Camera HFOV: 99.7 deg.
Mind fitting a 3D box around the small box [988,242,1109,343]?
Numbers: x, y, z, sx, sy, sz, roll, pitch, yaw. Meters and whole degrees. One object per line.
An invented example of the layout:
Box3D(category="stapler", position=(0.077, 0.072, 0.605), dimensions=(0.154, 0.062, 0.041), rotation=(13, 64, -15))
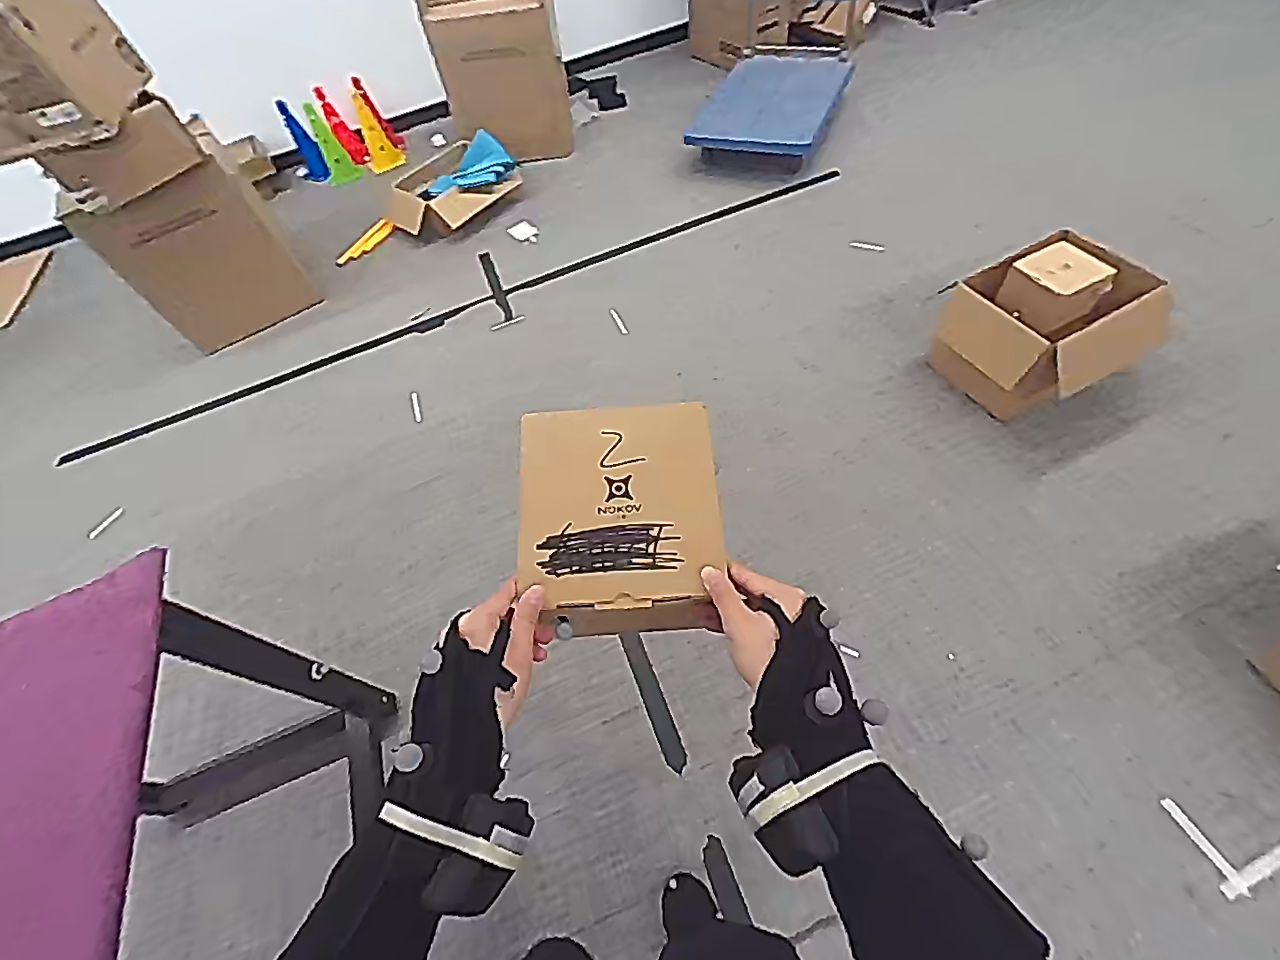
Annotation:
Box3D(category="small box", position=(1.106, -0.511, 1.483), dimensions=(0.179, 0.176, 0.168), rotation=(-26, 56, -7))
